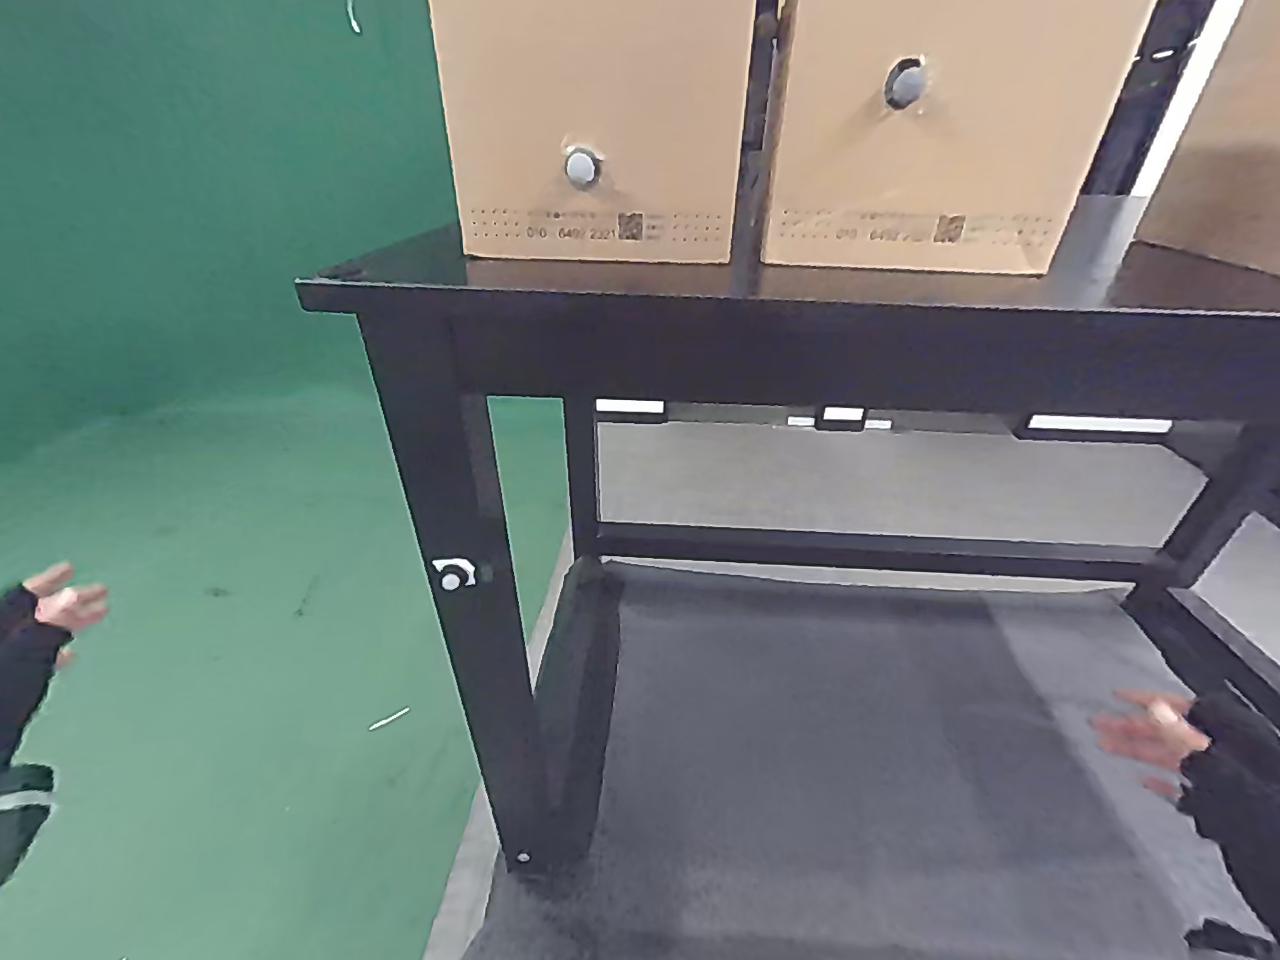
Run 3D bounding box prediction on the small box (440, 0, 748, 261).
[{"bbox_3d":[-0.024,-0.256,0.365,0.168,0.176,0.179,2,33,2],"label":"small box"}]
